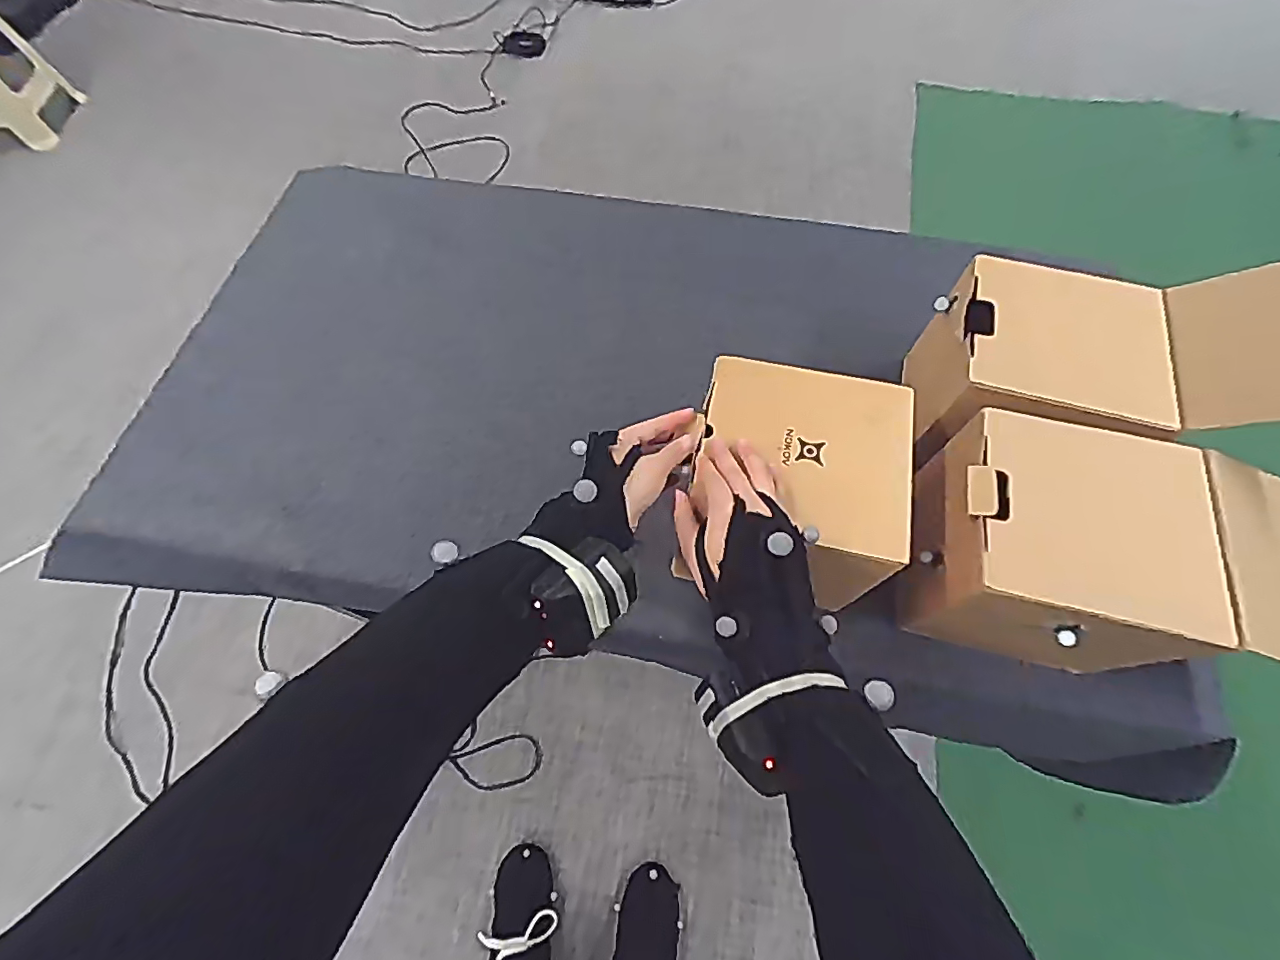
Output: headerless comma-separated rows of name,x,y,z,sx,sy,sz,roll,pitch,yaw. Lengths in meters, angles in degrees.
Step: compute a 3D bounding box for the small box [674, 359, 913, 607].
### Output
small box,0.135,0.013,0.518,0.179,0.176,0.168,11,65,7
